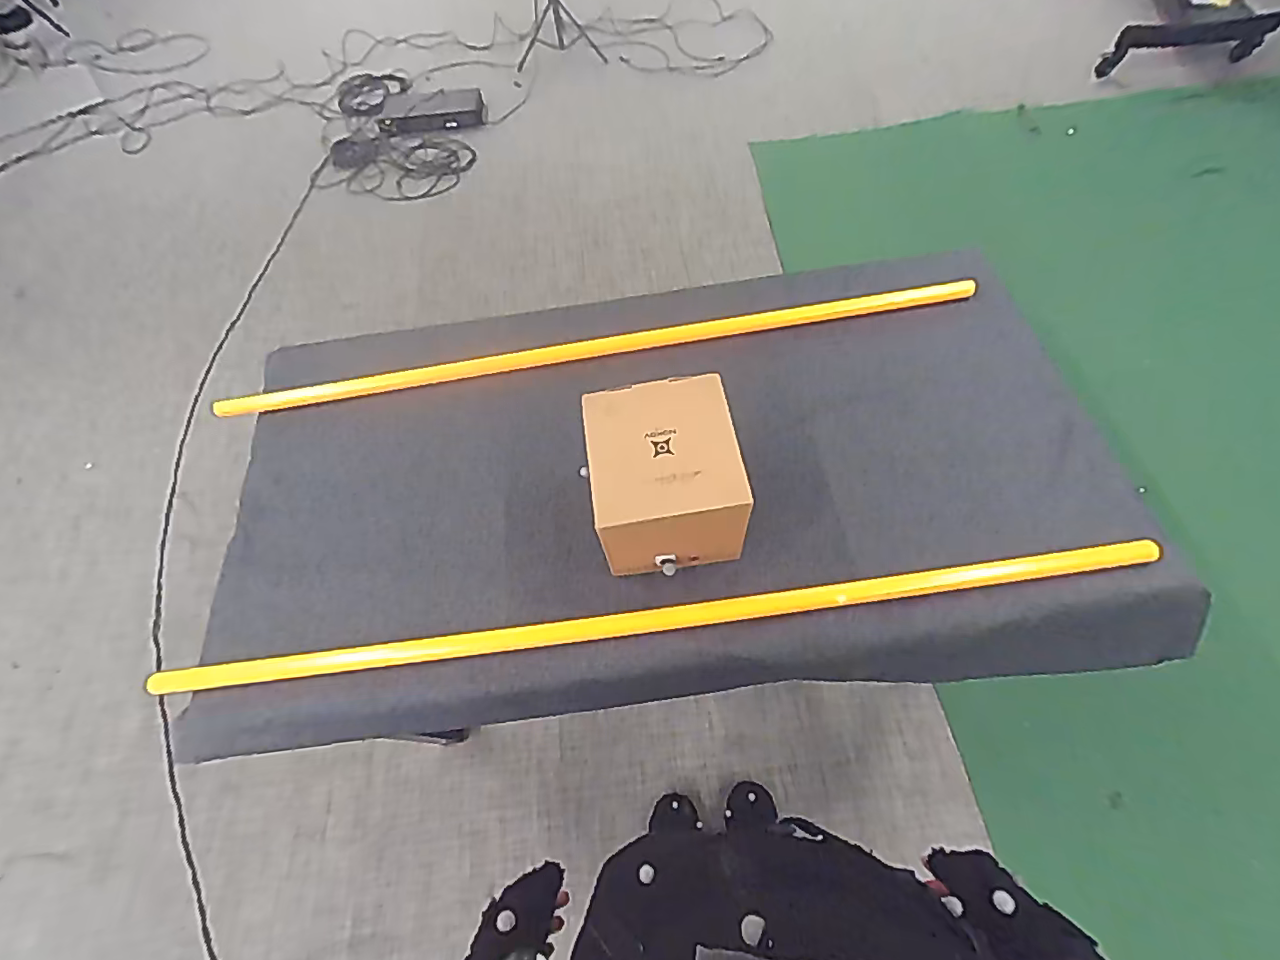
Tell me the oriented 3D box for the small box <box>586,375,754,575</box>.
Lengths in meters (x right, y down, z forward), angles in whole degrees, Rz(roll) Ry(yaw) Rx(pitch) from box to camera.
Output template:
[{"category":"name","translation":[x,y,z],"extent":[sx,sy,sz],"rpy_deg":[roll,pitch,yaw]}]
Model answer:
[{"category":"small box","translation":[0.033,0.000,0.668],"extent":[0.168,0.176,0.179],"rpy_deg":[-10,62,1]}]
